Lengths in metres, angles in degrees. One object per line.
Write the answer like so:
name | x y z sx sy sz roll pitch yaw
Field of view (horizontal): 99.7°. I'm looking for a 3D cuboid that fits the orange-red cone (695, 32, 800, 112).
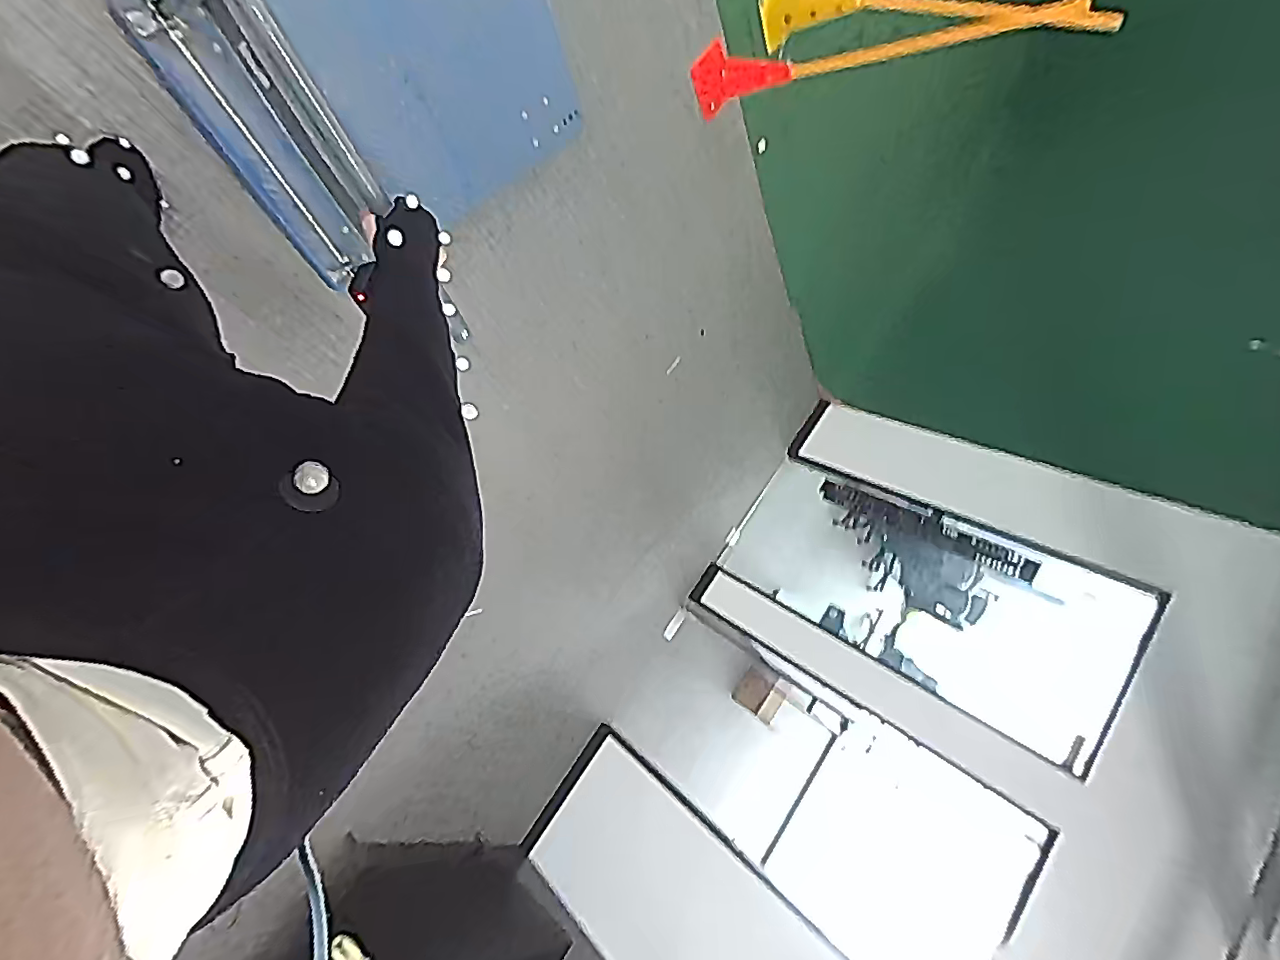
orange-red cone | 0.409 -1.484 1.946 0.199 0.360 0.198 -55 143 -13
